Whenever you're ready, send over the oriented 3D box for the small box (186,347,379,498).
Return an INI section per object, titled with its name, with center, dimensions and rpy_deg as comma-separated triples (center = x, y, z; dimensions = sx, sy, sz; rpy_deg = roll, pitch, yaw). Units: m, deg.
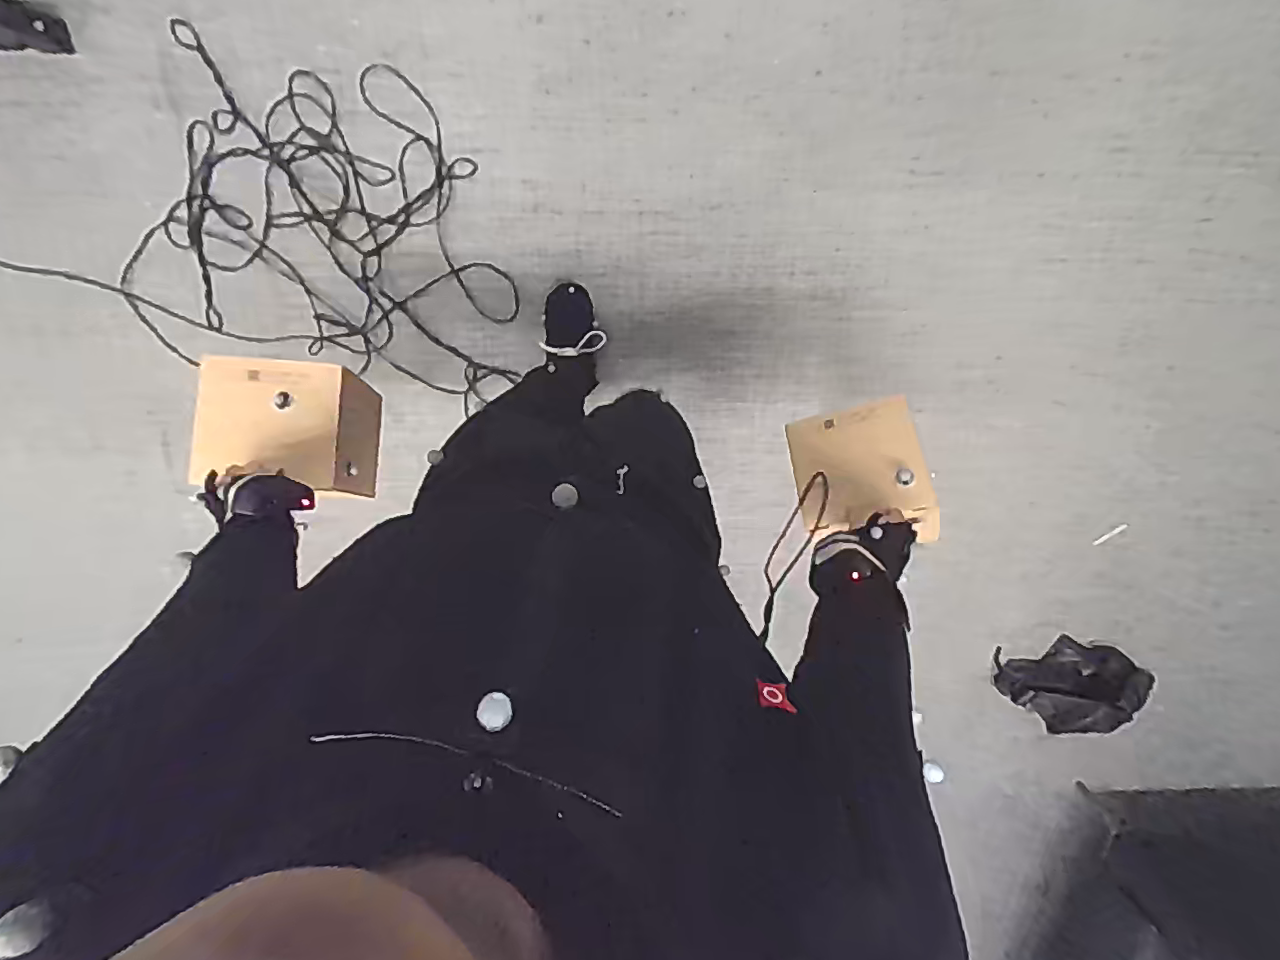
[small box]
center = -0.475, -0.070, 0.749
dimensions = 0.168, 0.179, 0.176
rpy_deg = 3, 83, -11
